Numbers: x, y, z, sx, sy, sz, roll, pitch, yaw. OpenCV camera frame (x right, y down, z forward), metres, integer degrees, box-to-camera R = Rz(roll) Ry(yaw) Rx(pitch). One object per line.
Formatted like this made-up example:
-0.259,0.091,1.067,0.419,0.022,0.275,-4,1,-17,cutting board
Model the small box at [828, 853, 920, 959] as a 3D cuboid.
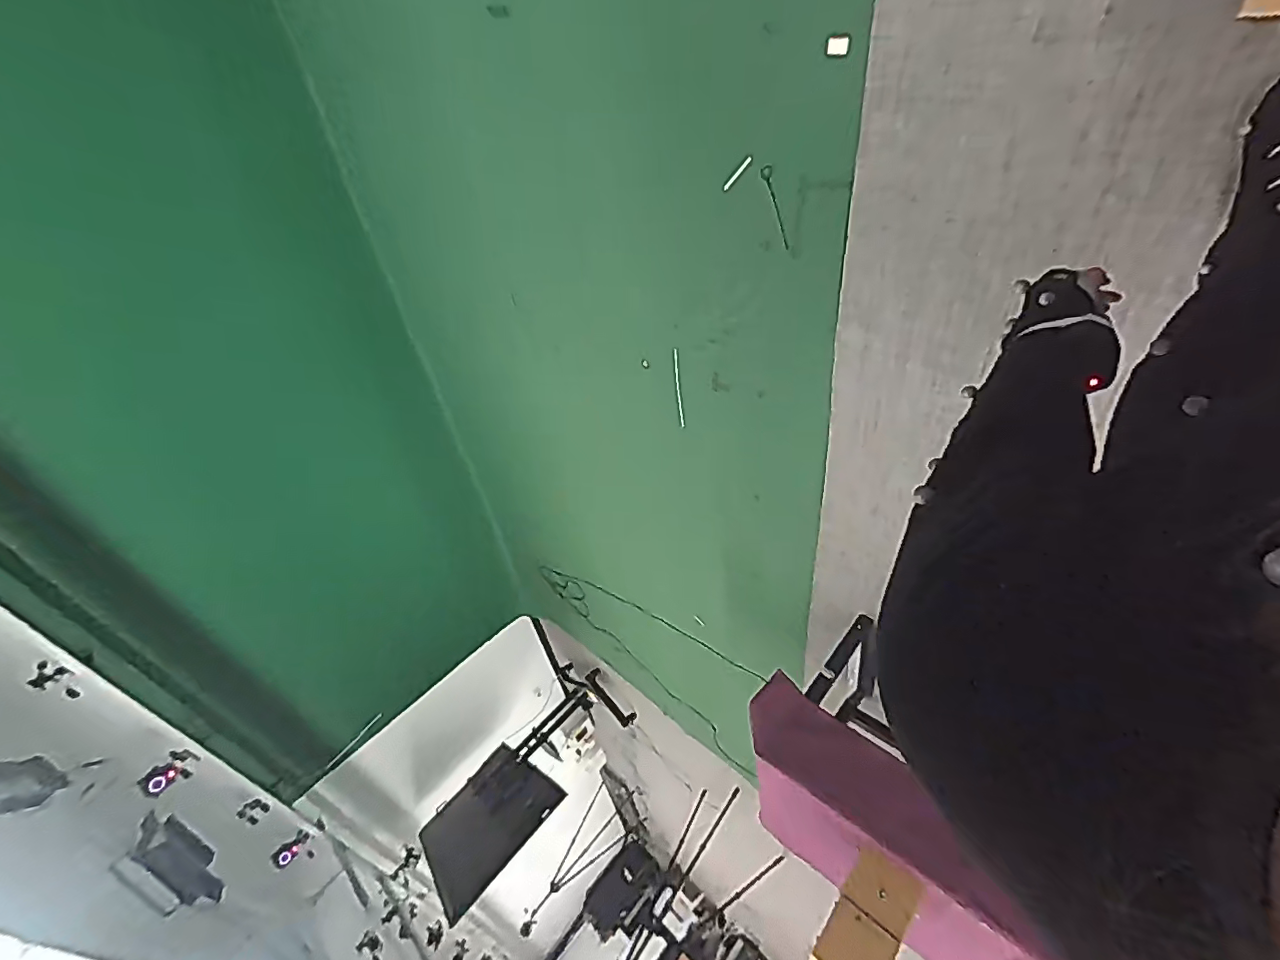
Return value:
0.662,1.204,1.536,0.179,0.176,0.168,25,140,36,small box
